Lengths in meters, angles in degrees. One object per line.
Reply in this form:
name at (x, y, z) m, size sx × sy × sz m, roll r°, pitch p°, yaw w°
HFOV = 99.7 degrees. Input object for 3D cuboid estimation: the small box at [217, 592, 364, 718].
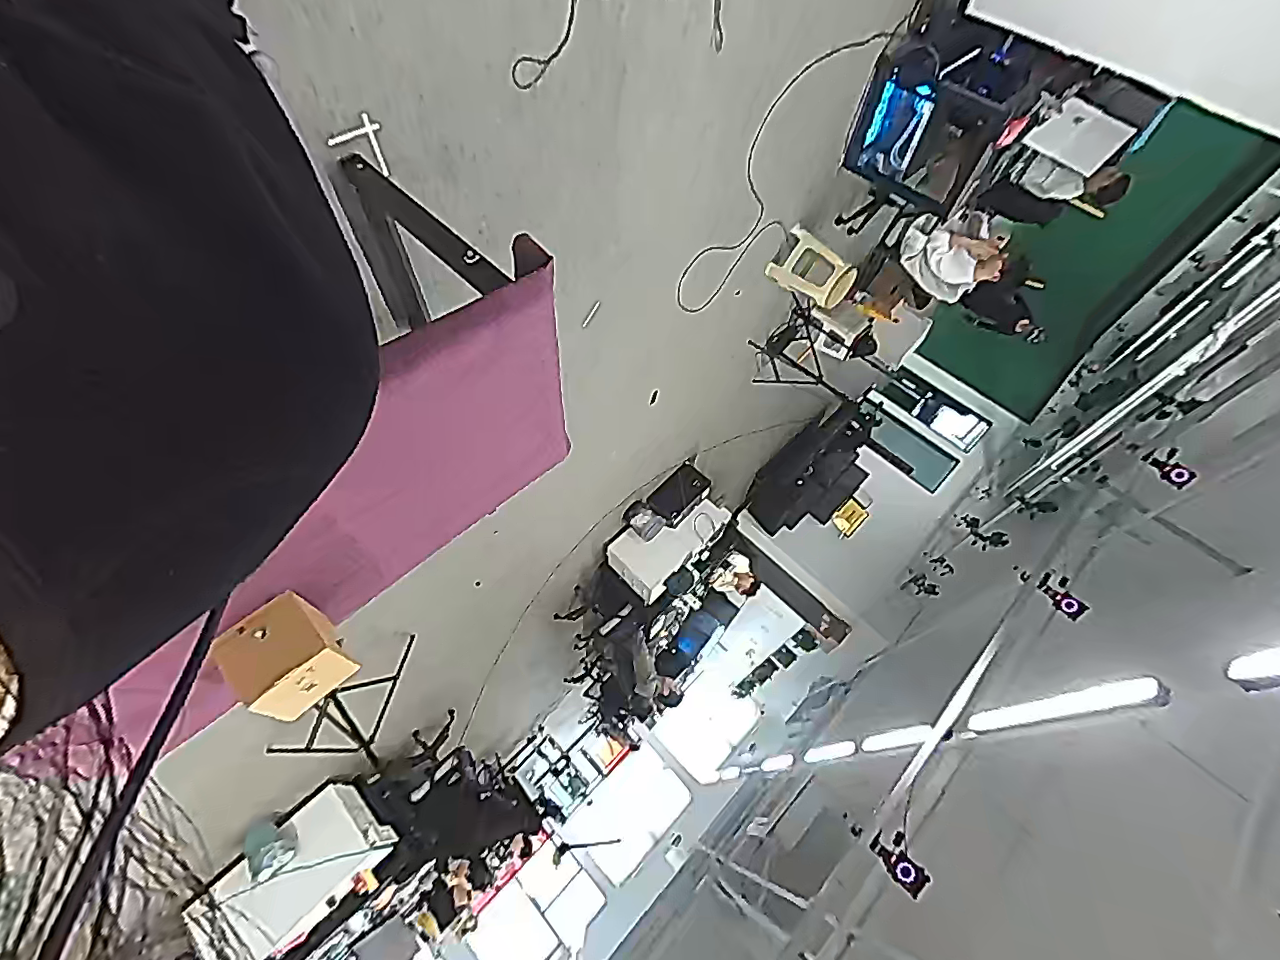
small box at (-0.728, 0.365, 1.137) m, size 0.168 × 0.176 × 0.179 m, roll -40°, pitch 158°, yaw -24°
